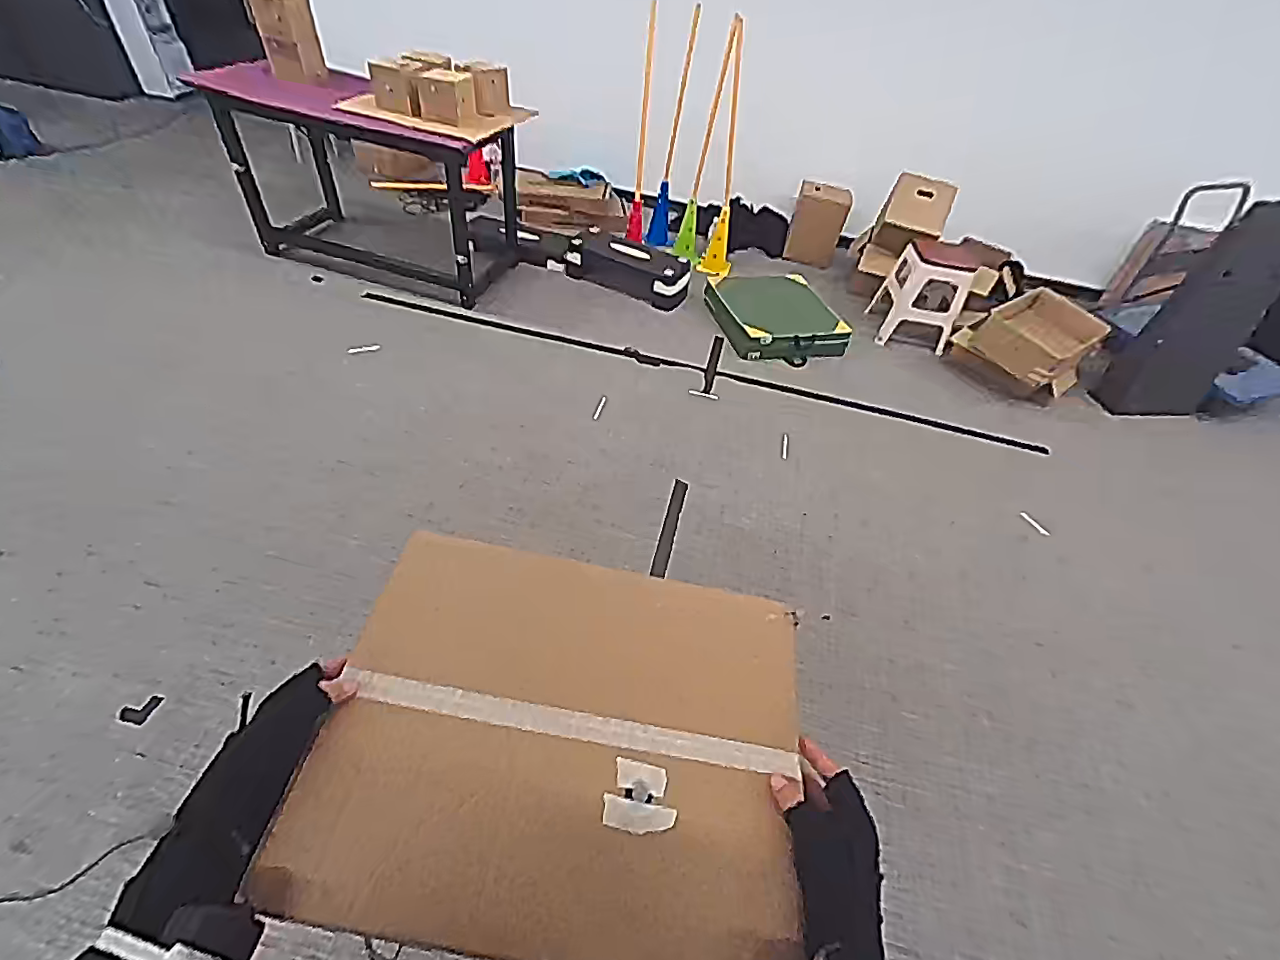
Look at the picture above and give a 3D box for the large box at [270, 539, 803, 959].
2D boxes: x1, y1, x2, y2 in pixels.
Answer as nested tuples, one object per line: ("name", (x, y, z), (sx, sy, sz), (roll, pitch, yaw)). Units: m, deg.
("large box", (-0.076, 0.304, 0.600), (0.408, 0.320, 0.320), (12, 53, -1))
